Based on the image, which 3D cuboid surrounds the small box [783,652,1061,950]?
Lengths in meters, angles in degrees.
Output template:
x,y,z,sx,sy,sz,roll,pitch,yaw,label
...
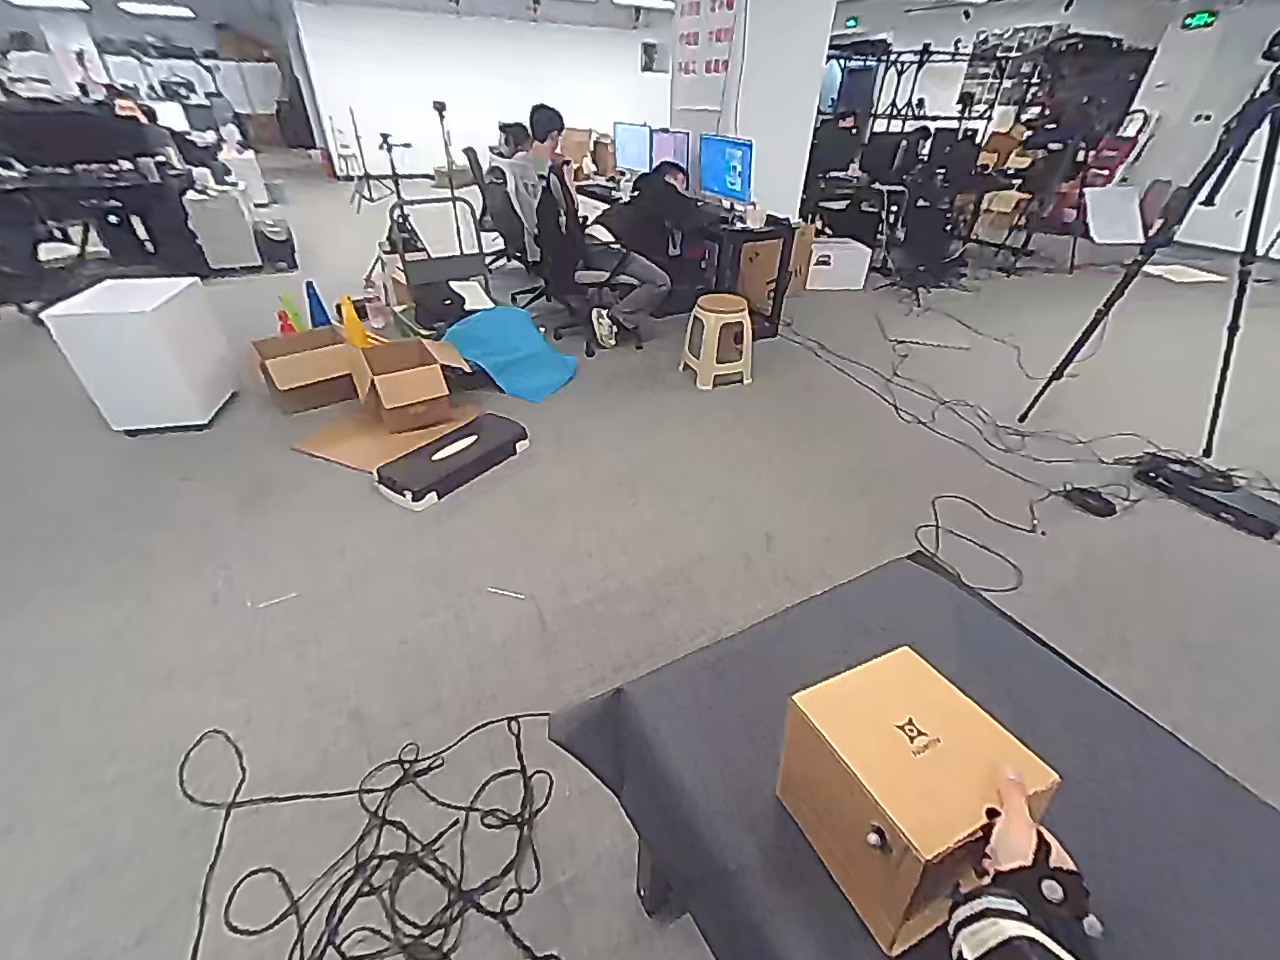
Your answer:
x,y,z,sx,sy,sz,roll,pitch,yaw,label
0.269,0.319,0.560,0.168,0.176,0.179,-14,32,-21,small box
